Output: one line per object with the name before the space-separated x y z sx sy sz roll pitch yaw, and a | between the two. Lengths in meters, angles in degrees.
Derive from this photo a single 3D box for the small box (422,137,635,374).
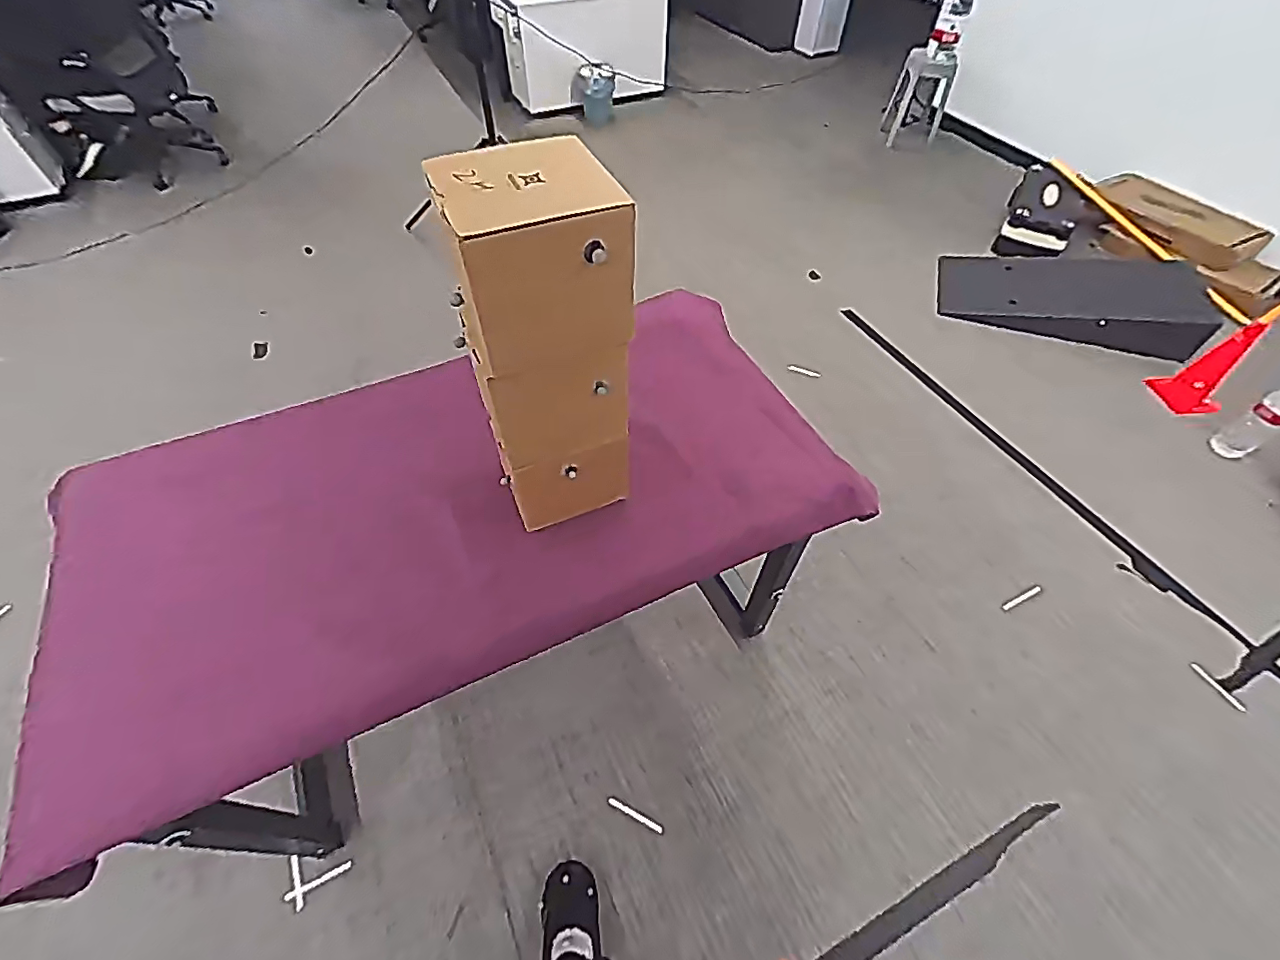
small box | -0.118 -0.248 0.605 0.179 0.176 0.168 -20 56 -15

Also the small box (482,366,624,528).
small box | -0.132 -0.049 0.868 0.179 0.176 0.168 -19 56 -16
